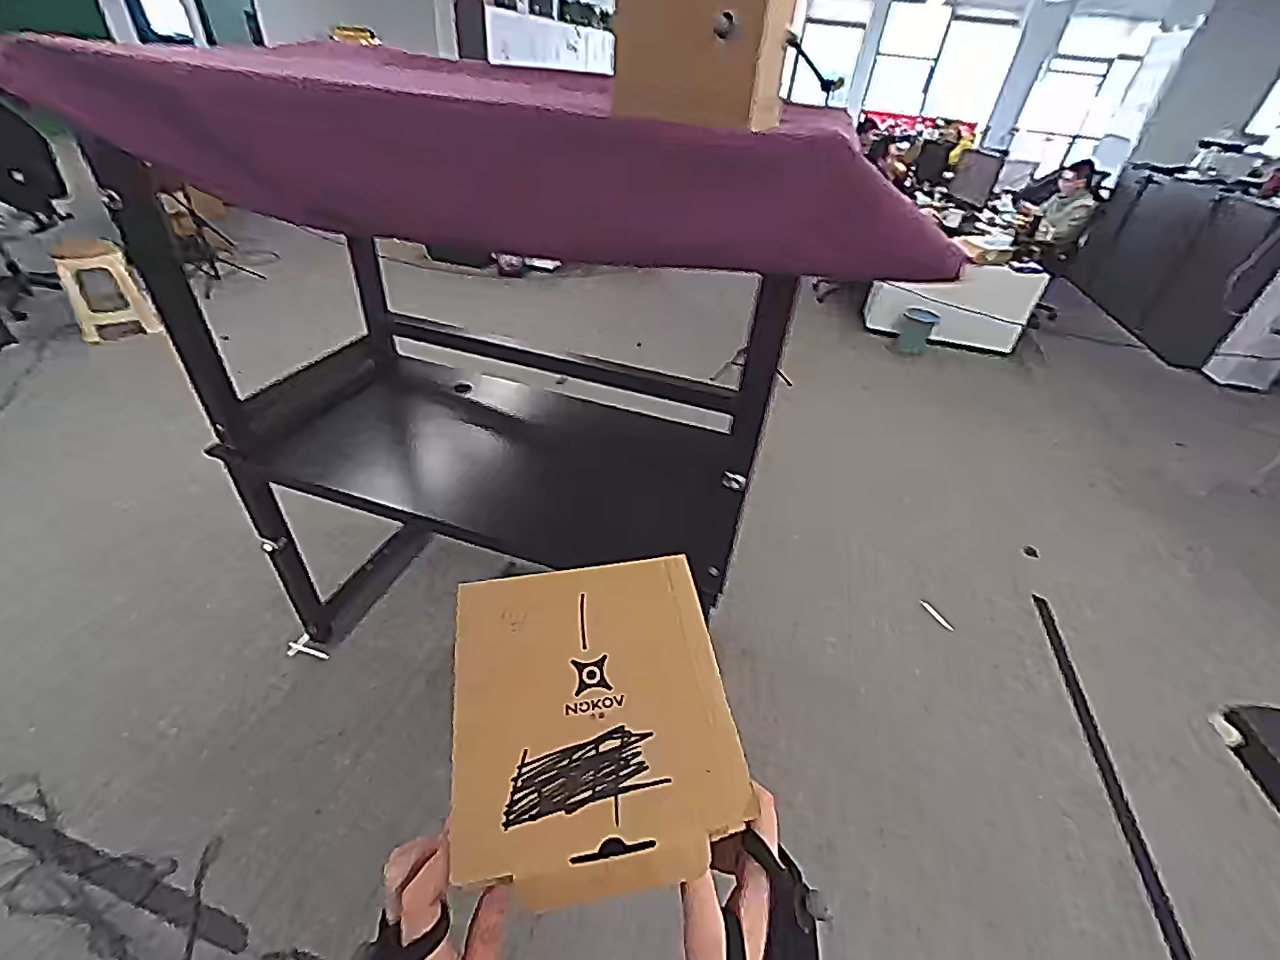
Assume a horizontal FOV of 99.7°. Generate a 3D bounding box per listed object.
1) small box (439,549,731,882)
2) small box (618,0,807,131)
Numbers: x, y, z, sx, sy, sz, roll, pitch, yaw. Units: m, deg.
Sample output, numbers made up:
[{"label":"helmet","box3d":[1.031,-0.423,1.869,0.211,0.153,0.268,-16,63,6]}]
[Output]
[{"label":"small box","box3d":[-0.046,0.173,0.406,0.168,0.176,0.179,-5,58,-10]},{"label":"small box","box3d":[0.087,-0.512,0.629,0.179,0.176,0.168,17,38,16]}]
